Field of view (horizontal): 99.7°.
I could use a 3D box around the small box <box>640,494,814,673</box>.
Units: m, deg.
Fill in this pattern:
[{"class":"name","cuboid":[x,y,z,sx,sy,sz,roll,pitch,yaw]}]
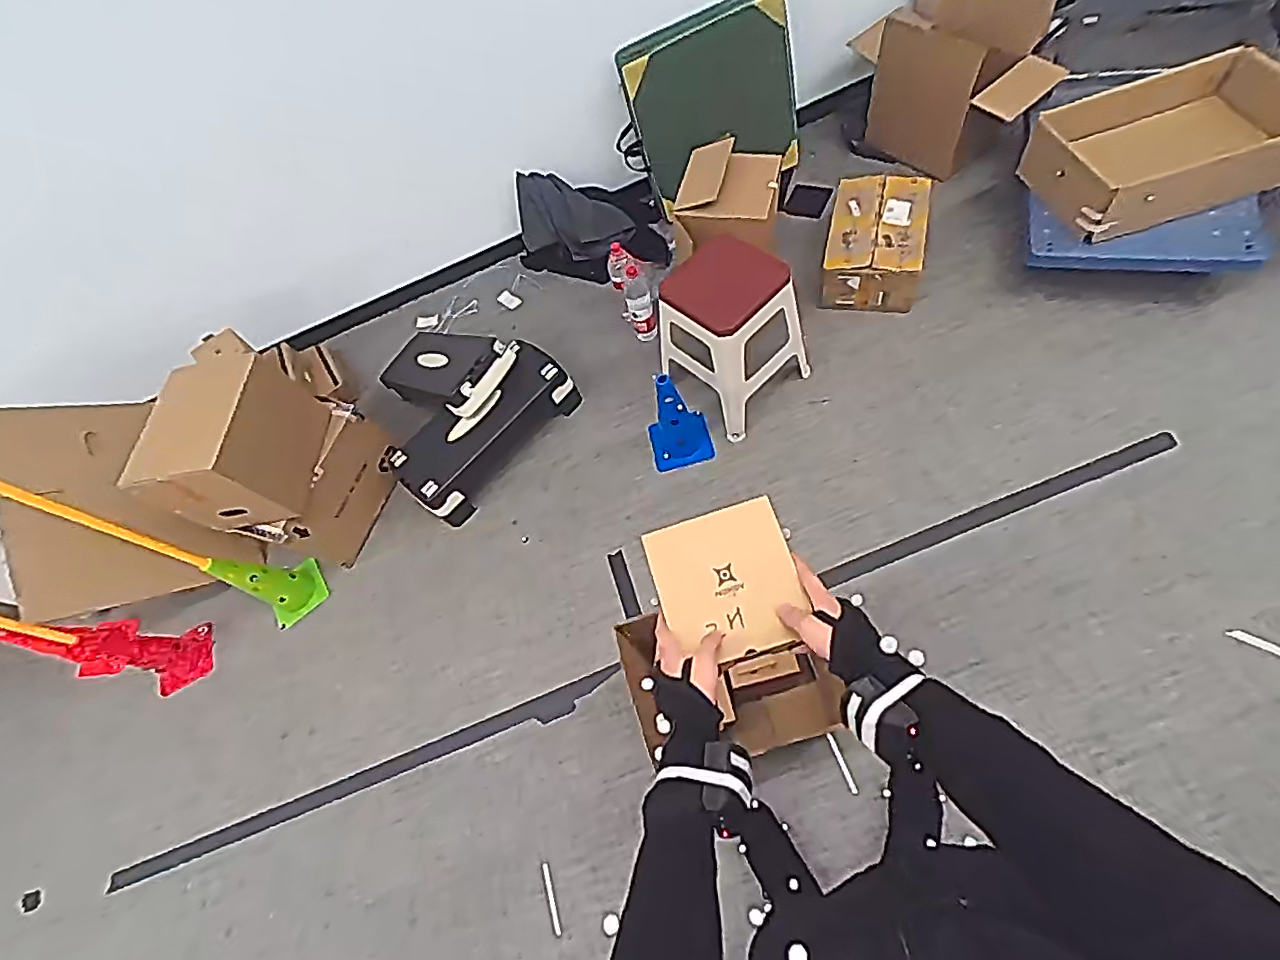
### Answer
[{"class":"small box","cuboid":[0.108,0.144,0.710,0.168,0.176,0.179,-18,68,4]}]
